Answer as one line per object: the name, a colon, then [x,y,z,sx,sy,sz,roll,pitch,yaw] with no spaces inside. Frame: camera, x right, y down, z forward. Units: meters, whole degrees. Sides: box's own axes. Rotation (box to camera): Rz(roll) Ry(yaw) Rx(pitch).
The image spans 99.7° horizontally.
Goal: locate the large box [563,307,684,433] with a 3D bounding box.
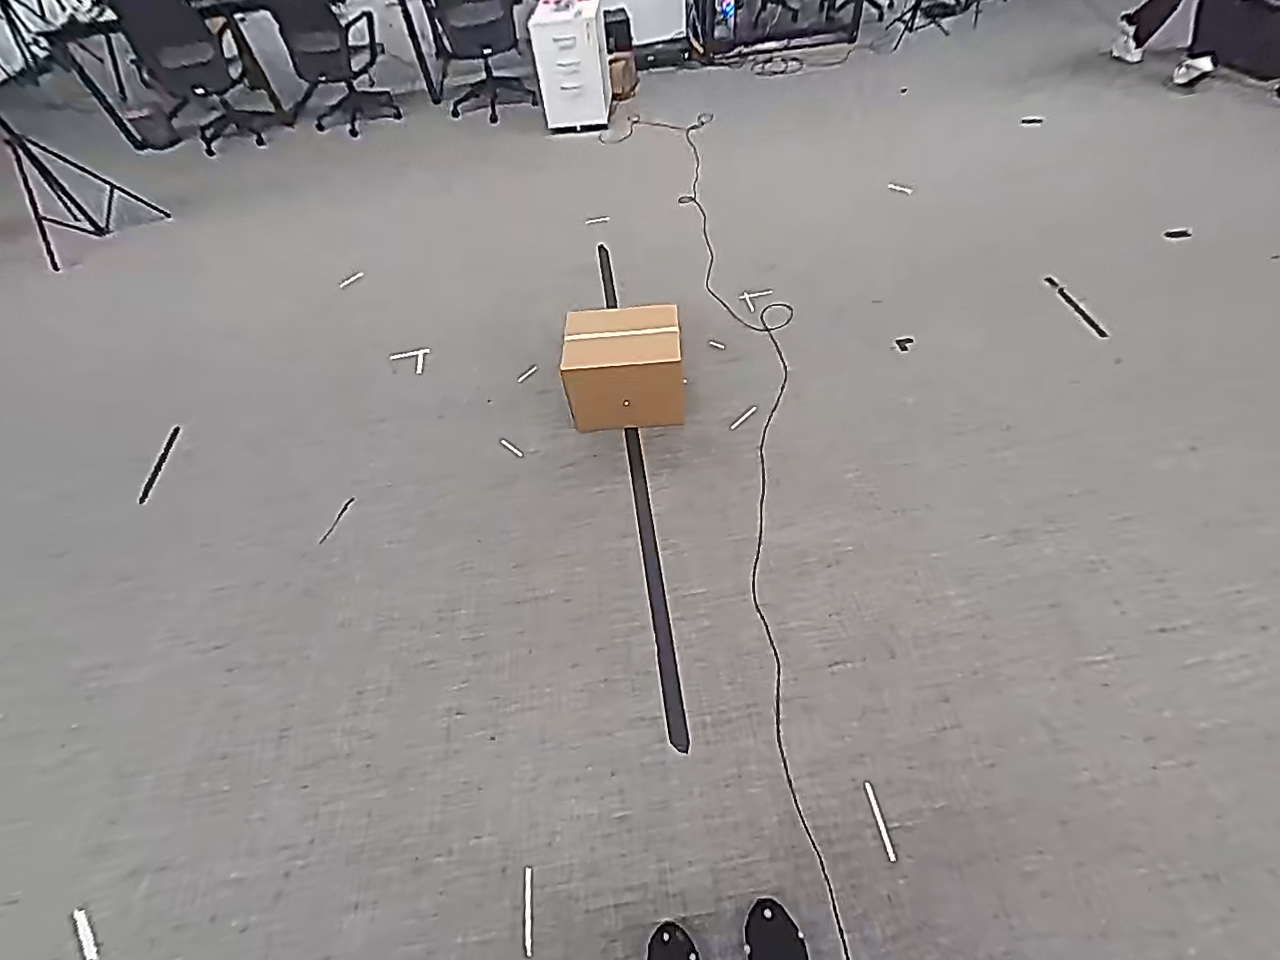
large box: [-0.051,-0.396,1.976,0.408,0.320,0.320,-4,53,4]
